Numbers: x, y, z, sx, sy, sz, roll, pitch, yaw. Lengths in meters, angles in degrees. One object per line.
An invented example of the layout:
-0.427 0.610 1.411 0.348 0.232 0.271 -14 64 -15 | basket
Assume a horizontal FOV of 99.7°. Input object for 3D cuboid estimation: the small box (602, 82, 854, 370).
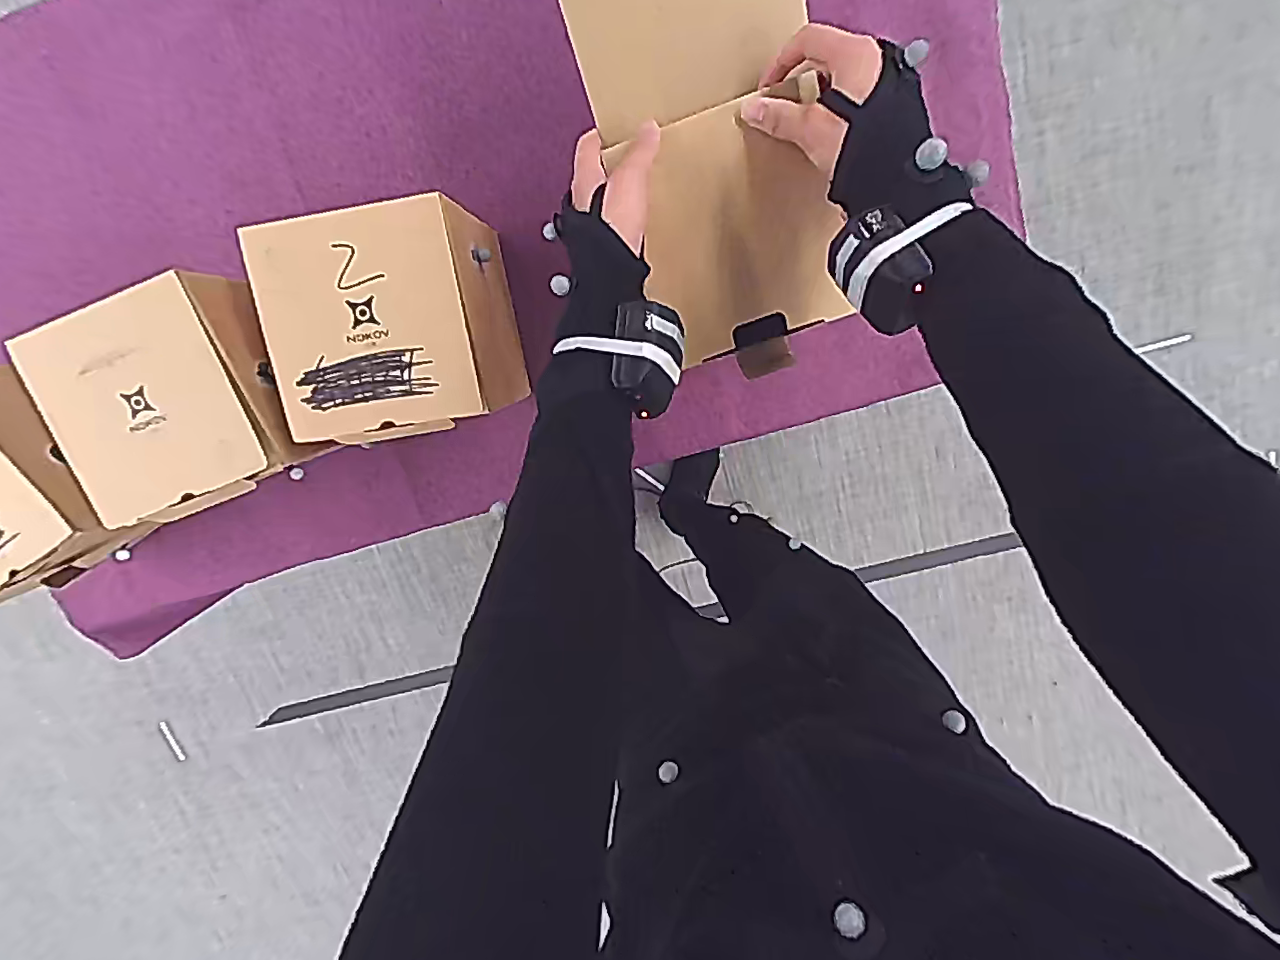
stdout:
0.071 -0.210 0.498 0.168 0.176 0.179 -17 104 5 | small box
